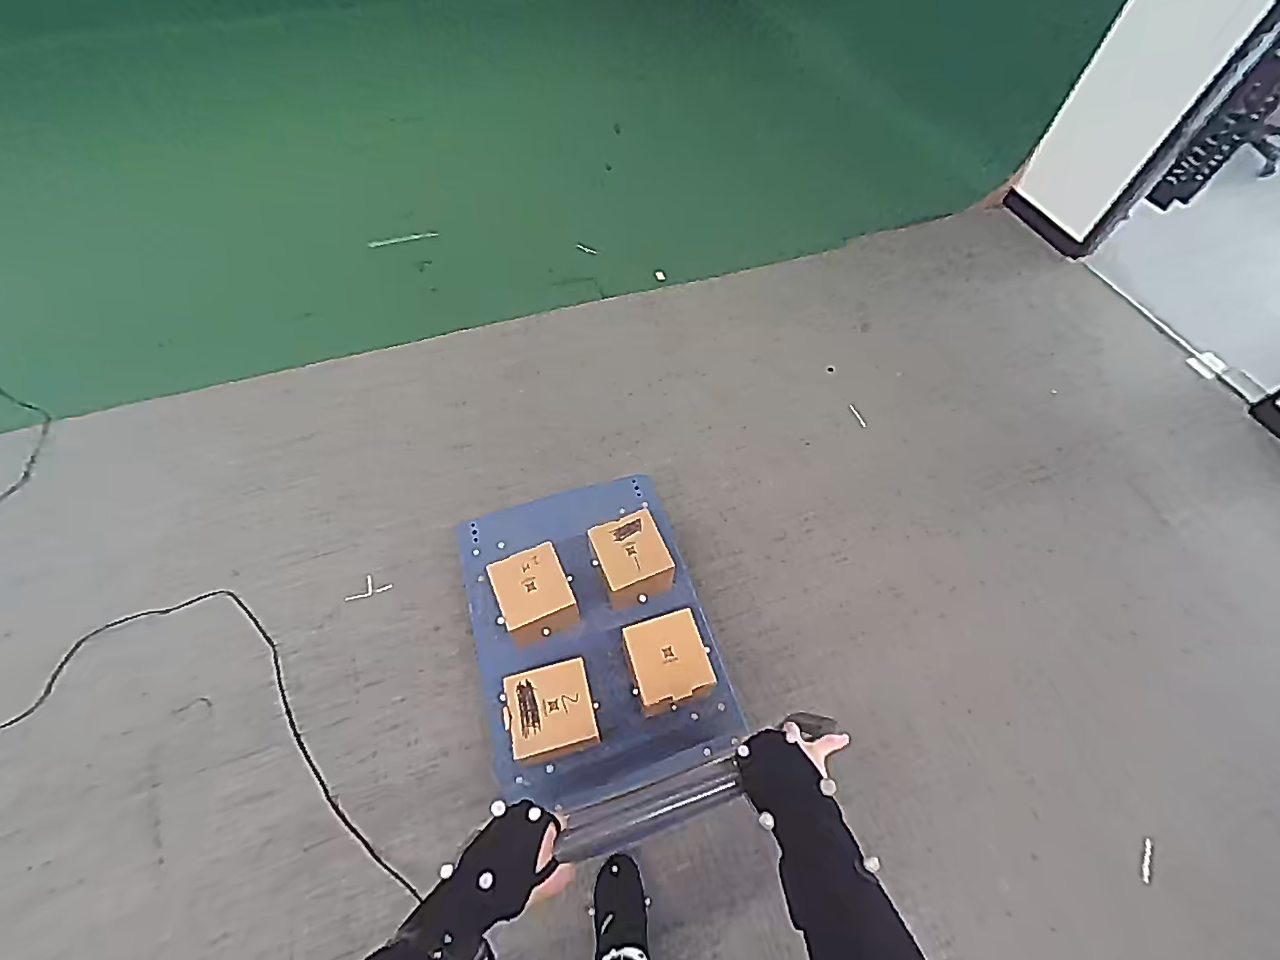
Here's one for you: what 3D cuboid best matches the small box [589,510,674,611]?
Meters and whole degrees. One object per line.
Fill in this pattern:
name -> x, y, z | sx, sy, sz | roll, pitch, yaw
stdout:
small box -> -0.026, 0.210, 1.394 | 0.168, 0.176, 0.179 | -20, 62, -13

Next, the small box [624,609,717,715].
small box -> 0.063, 0.429, 1.266 | 0.168, 0.176, 0.179 | -15, 61, -11

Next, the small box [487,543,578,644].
small box -> -0.260, 0.289, 1.338 | 0.168, 0.176, 0.179 | -21, 62, -15
